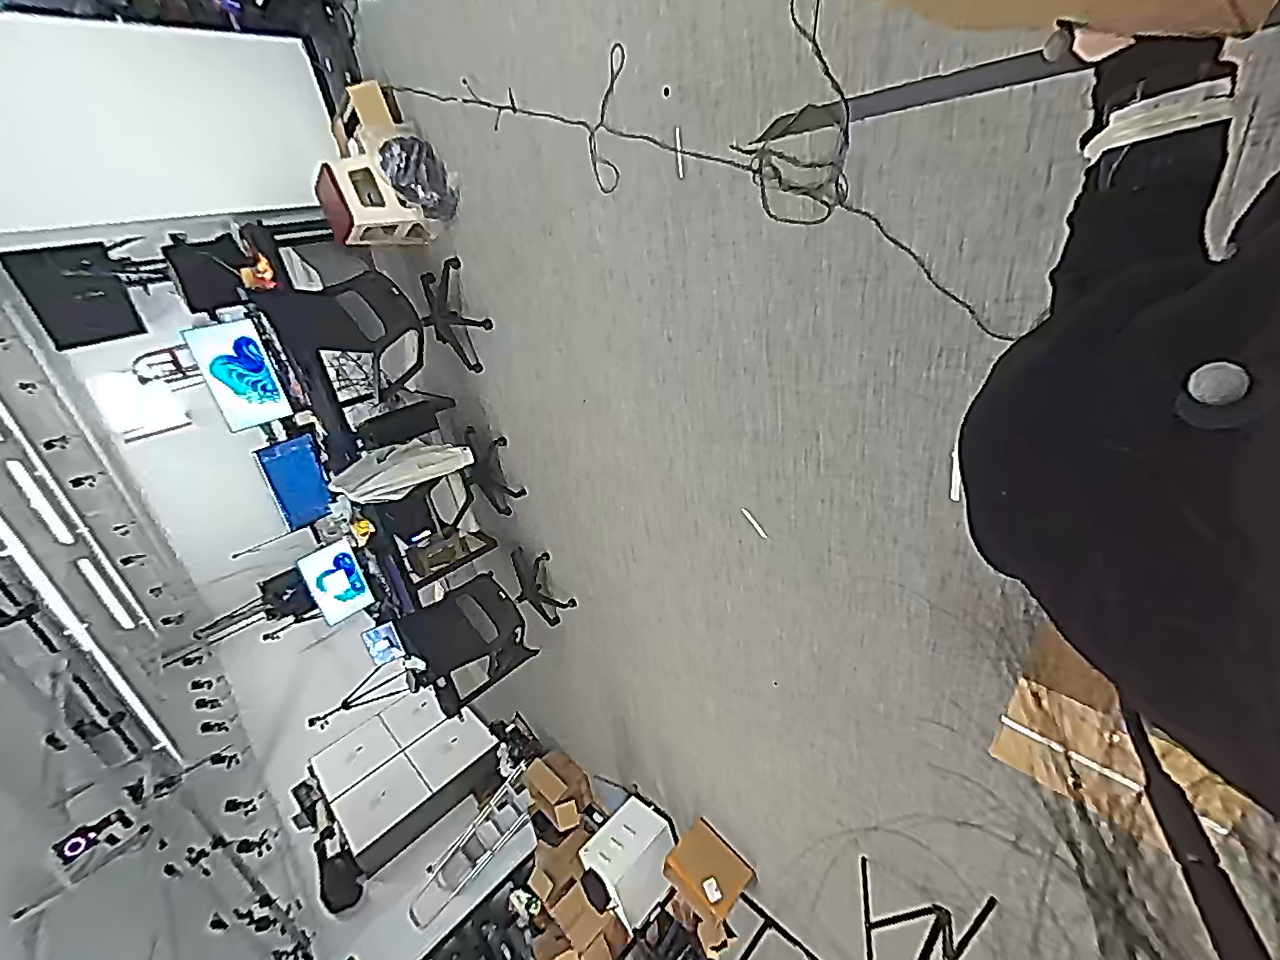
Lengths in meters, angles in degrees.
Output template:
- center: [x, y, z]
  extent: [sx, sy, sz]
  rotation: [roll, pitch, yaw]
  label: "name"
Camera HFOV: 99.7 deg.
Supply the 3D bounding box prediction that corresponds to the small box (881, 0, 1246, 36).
- center: [0.240, -0.336, 0.264]
  extent: [0.179, 0.176, 0.168]
  rotation: [37, 135, 34]
  label: "small box"
